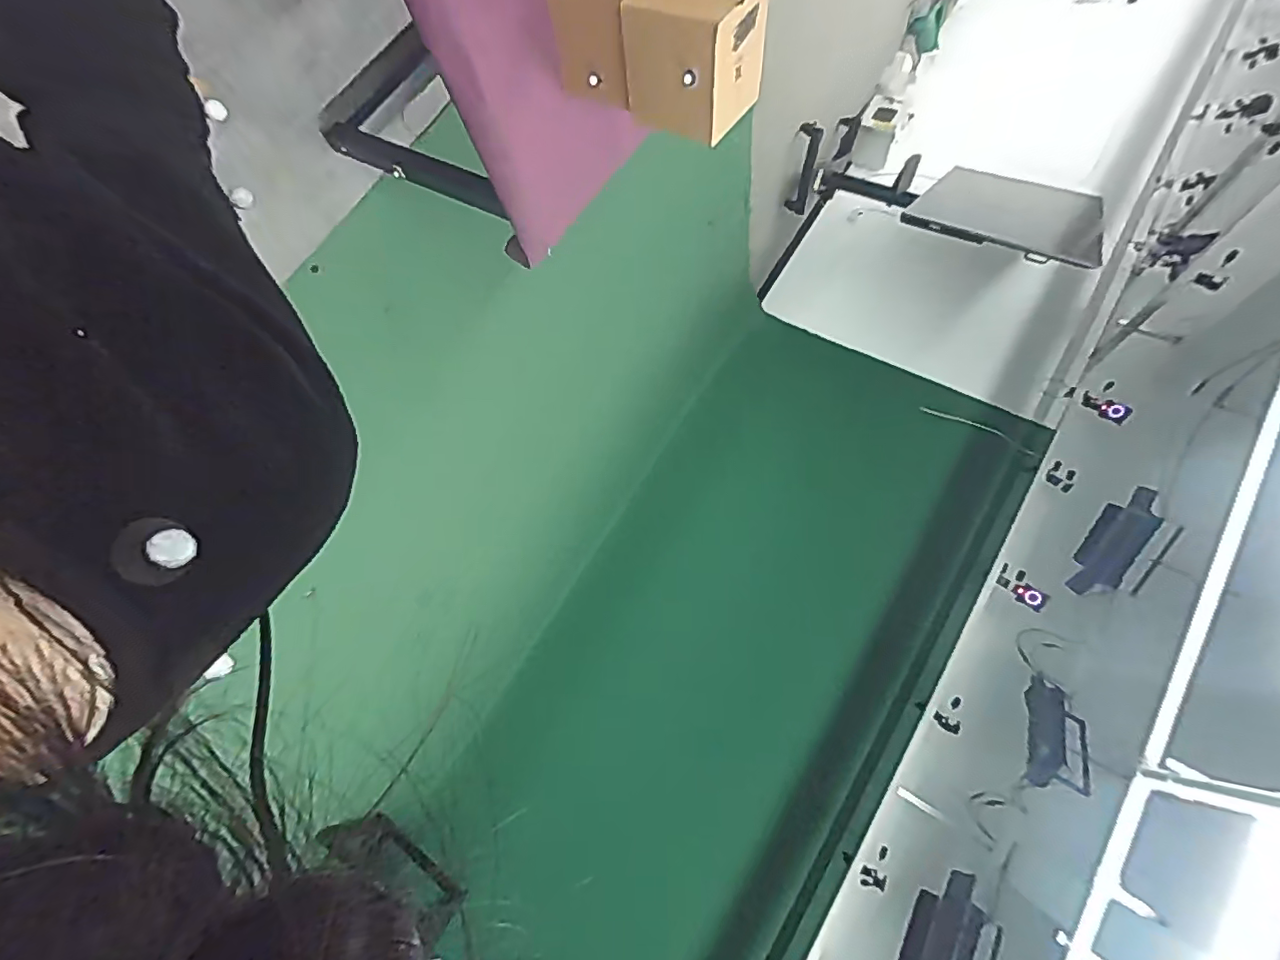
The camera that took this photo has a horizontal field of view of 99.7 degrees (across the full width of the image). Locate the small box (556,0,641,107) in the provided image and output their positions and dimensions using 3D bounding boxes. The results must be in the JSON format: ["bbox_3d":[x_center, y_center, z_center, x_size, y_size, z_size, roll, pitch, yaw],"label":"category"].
[{"bbox_3d":[-0.024,-0.783,0.918,0.168,0.176,0.179,-53,159,-21],"label":"small box"}]

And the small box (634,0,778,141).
[{"bbox_3d":[0.103,-0.692,0.868,0.168,0.176,0.179,-53,160,-20],"label":"small box"}]
